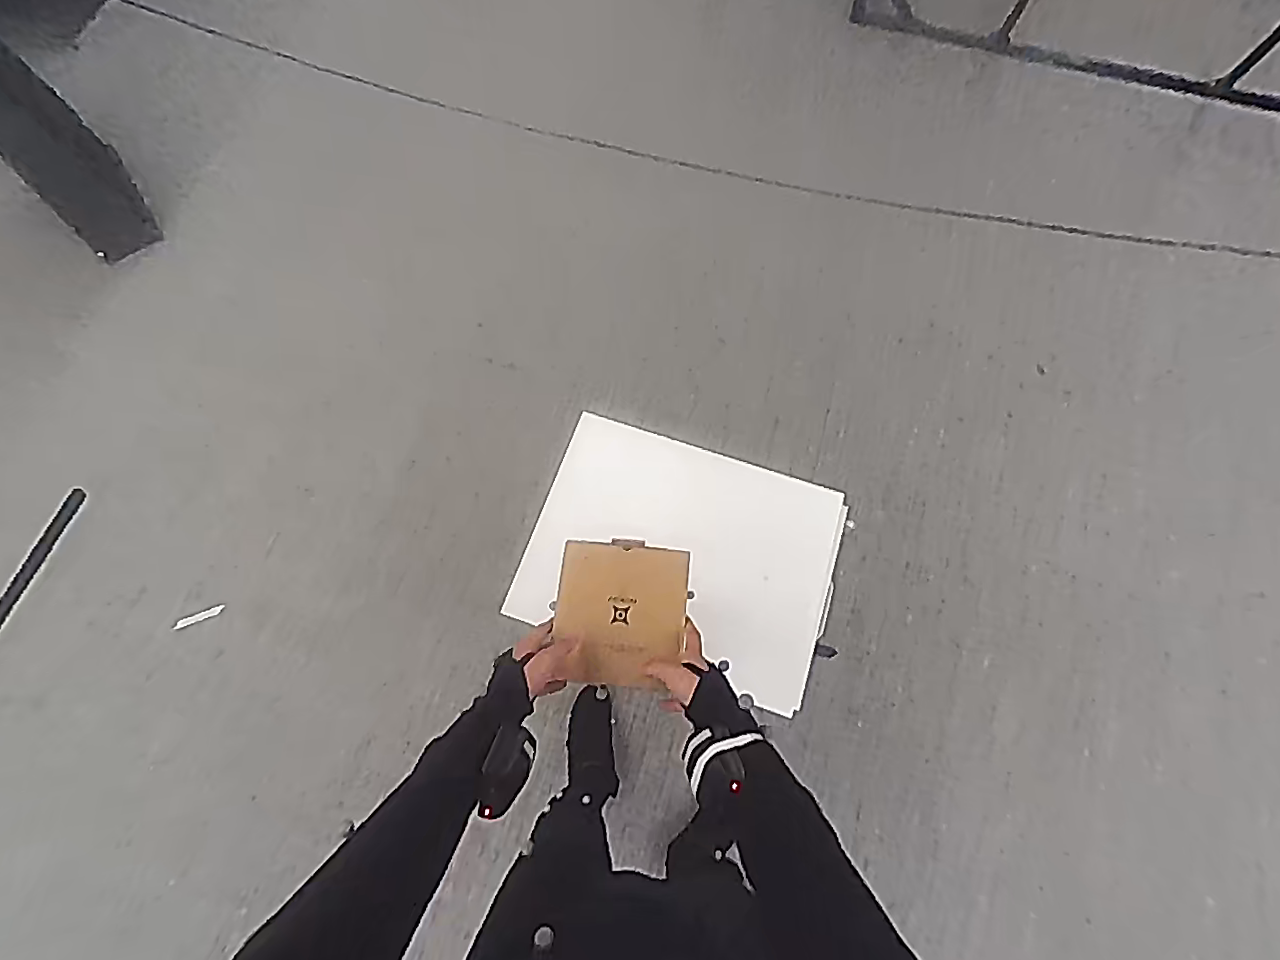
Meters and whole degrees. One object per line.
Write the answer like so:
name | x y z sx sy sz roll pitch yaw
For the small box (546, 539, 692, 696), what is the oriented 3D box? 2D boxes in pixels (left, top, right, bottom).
small box | -0.025 0.195 0.748 0.168 0.176 0.179 6 68 1
